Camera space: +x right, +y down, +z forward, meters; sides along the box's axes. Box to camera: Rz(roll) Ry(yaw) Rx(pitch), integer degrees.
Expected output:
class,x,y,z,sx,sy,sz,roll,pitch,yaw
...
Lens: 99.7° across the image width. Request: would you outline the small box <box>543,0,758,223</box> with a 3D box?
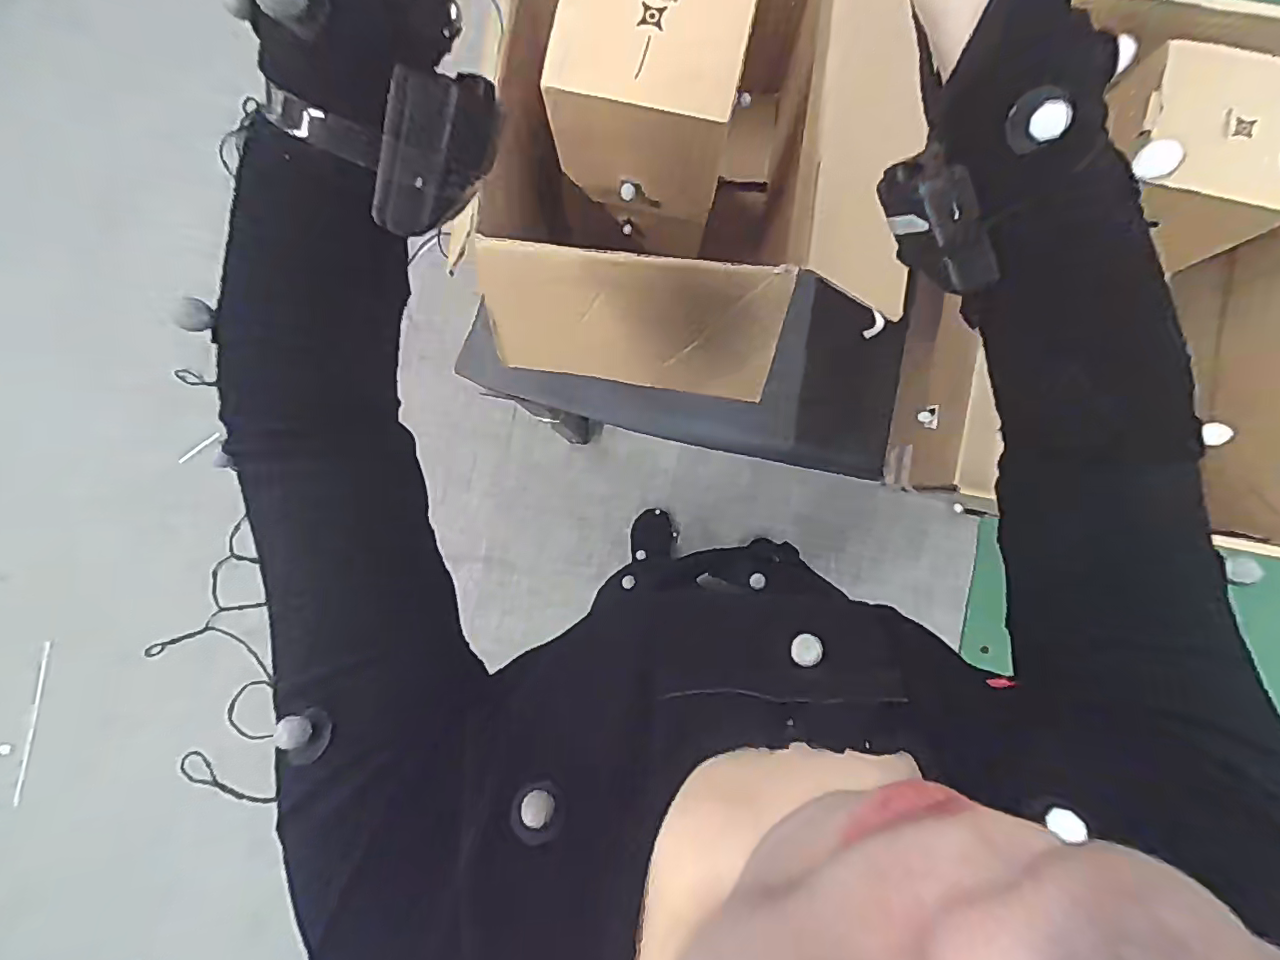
class,x,y,z,sx,sy,sz,roll,pitch,yaw
small box,0.014,-0.398,0.545,0.168,0.176,0.179,13,90,1
